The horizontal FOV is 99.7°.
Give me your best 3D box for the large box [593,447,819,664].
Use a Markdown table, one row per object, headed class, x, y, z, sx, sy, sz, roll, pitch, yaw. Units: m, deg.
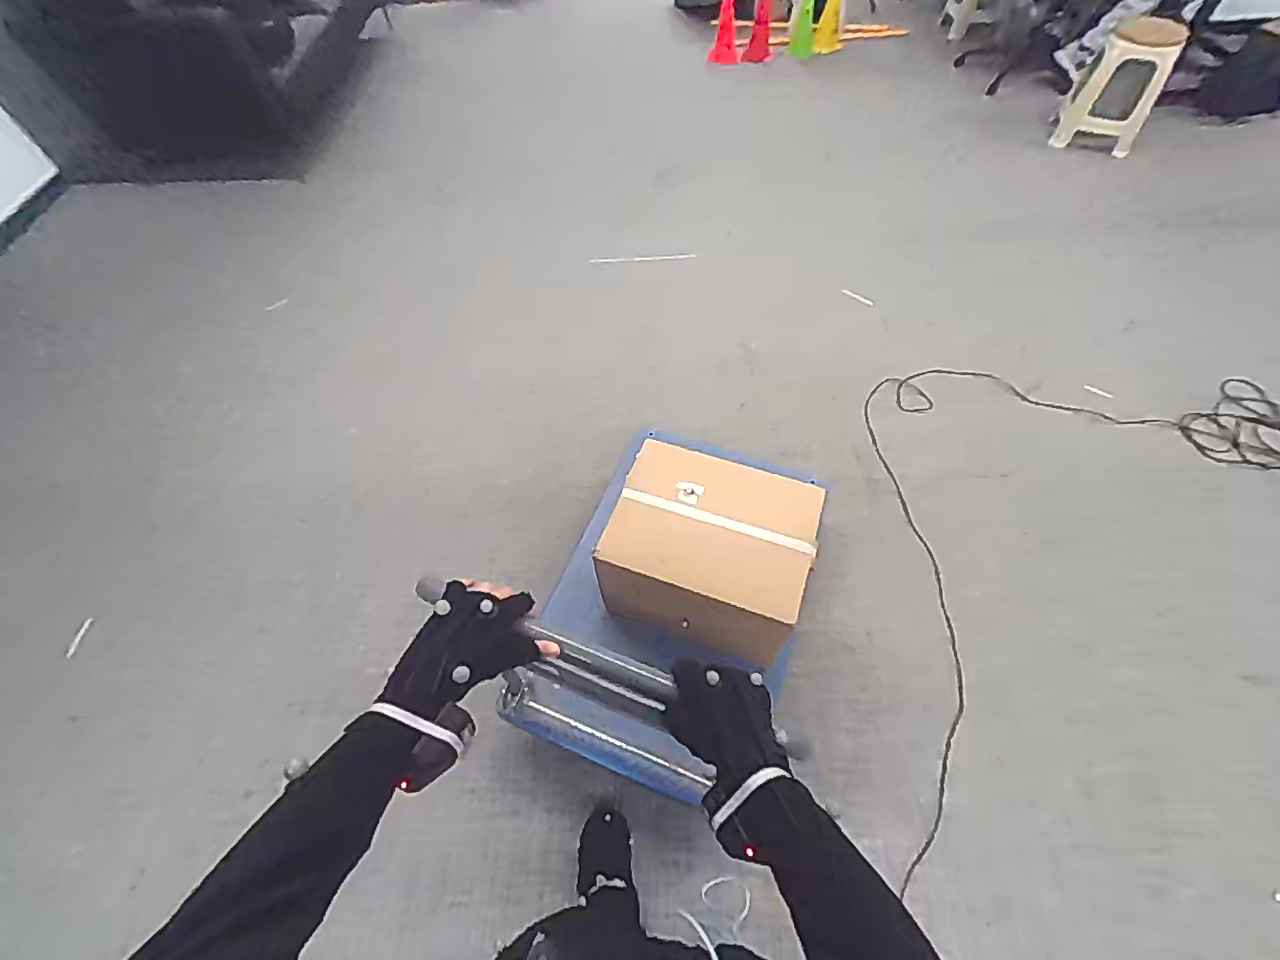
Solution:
| class | x | y | z | sx | sy | sz | roll | pitch | yaw |
| --- | --- | --- | --- | --- | --- | --- | --- | --- | --- |
| large box | 0.152 | 0.177 | 1.233 | 0.408 | 0.320 | 0.320 | 16 | 58 | 14 |
